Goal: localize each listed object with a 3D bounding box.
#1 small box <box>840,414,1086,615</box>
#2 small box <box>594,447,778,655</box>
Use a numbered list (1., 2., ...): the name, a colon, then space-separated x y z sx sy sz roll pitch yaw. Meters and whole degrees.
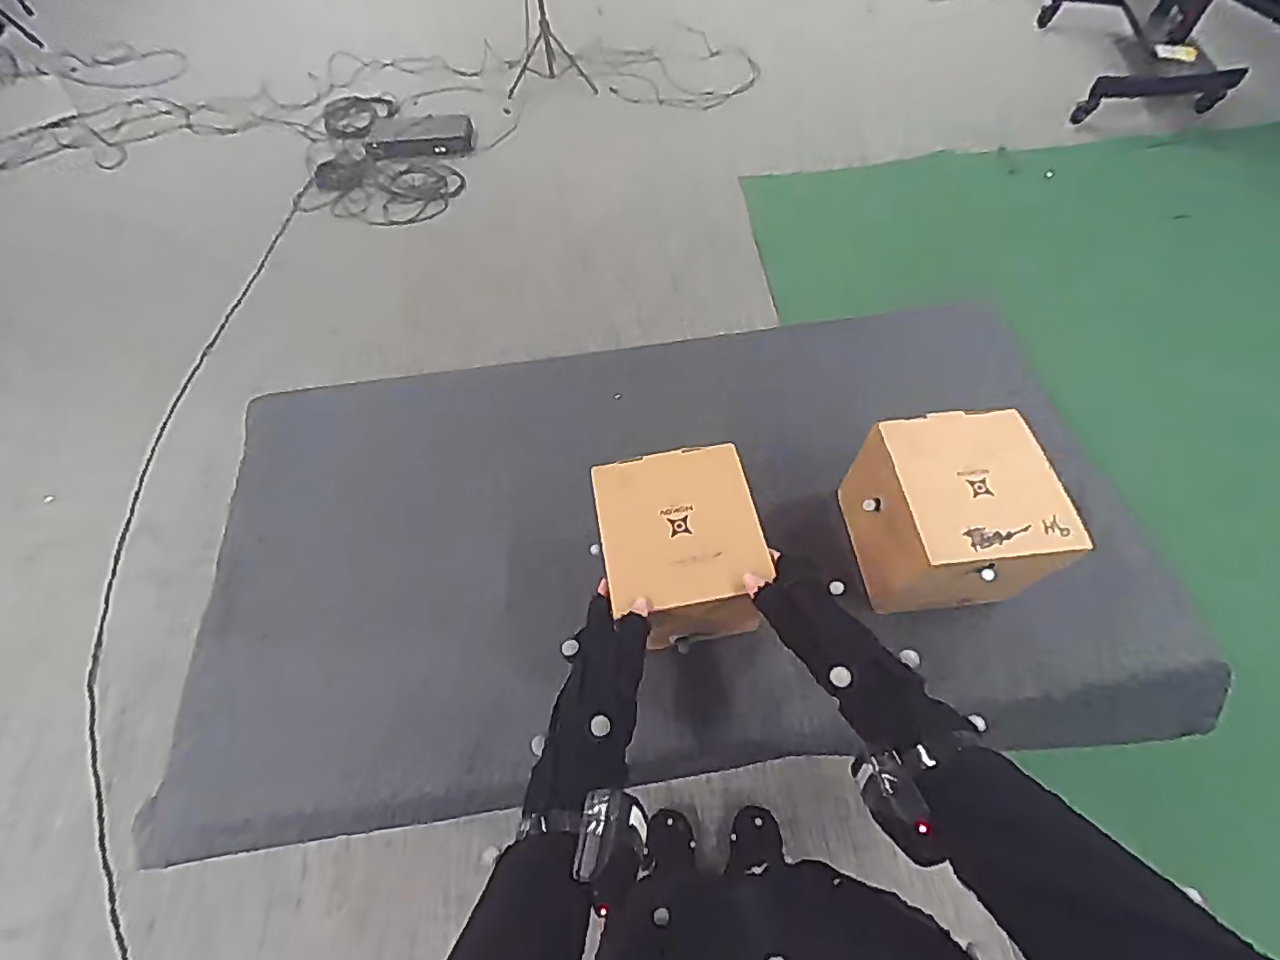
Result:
1. small box: 0.358 0.045 0.646 0.168 0.176 0.179 -6 59 0
2. small box: 0.045 0.088 0.637 0.168 0.176 0.179 -11 60 -2
